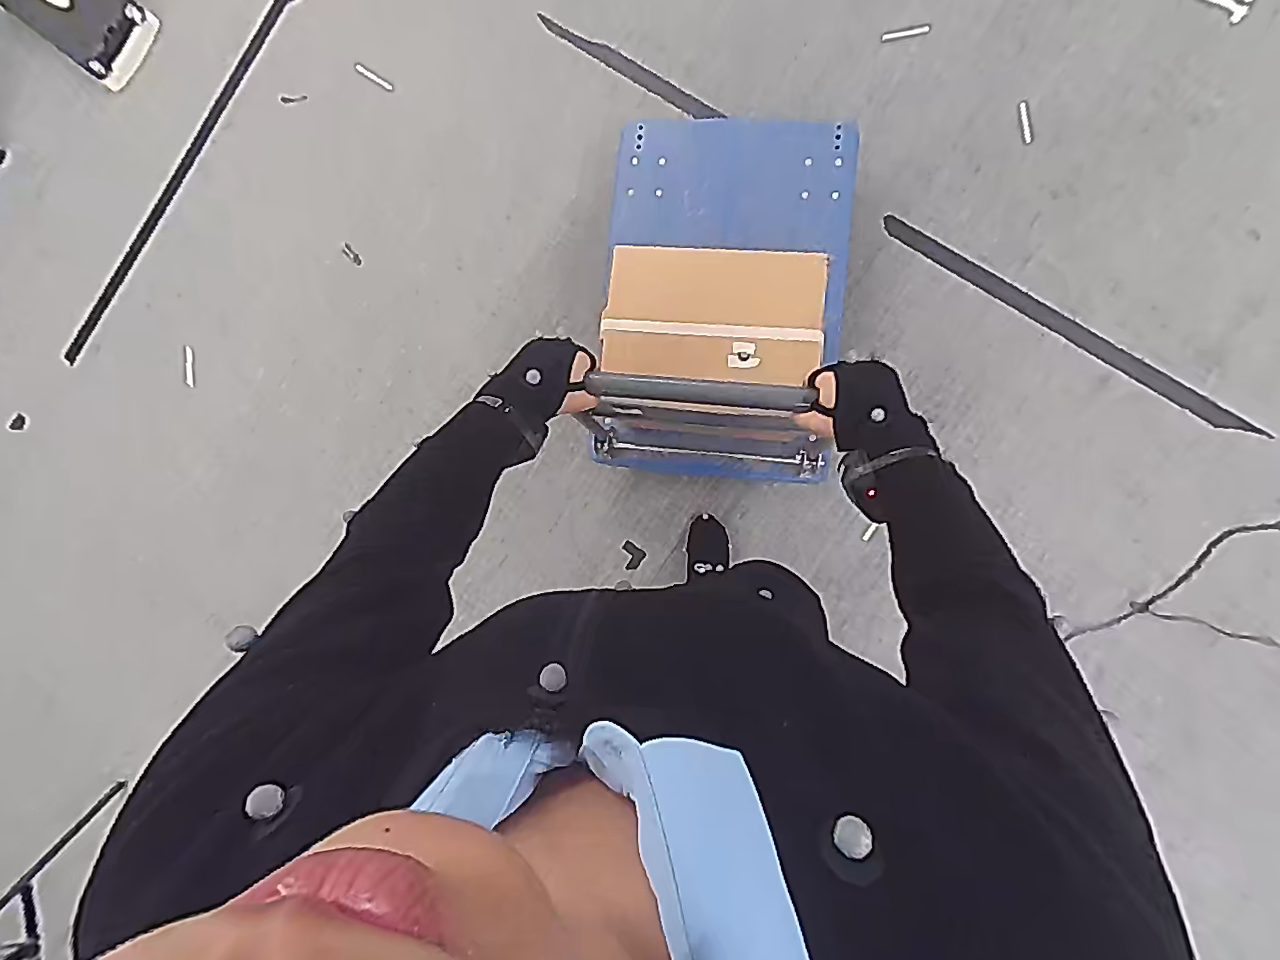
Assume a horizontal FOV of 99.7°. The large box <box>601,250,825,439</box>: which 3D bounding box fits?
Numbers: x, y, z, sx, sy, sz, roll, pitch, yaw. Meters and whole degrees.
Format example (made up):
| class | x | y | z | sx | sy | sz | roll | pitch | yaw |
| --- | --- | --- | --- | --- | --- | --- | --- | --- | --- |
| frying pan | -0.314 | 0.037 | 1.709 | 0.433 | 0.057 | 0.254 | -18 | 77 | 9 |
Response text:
| class | x | y | z | sx | sy | sz | roll | pitch | yaw |
| --- | --- | --- | --- | --- | --- | --- | --- | --- | --- |
| large box | 0.149 | -0.270 | 1.162 | 0.408 | 0.320 | 0.320 | 6 | 89 | 7 |
